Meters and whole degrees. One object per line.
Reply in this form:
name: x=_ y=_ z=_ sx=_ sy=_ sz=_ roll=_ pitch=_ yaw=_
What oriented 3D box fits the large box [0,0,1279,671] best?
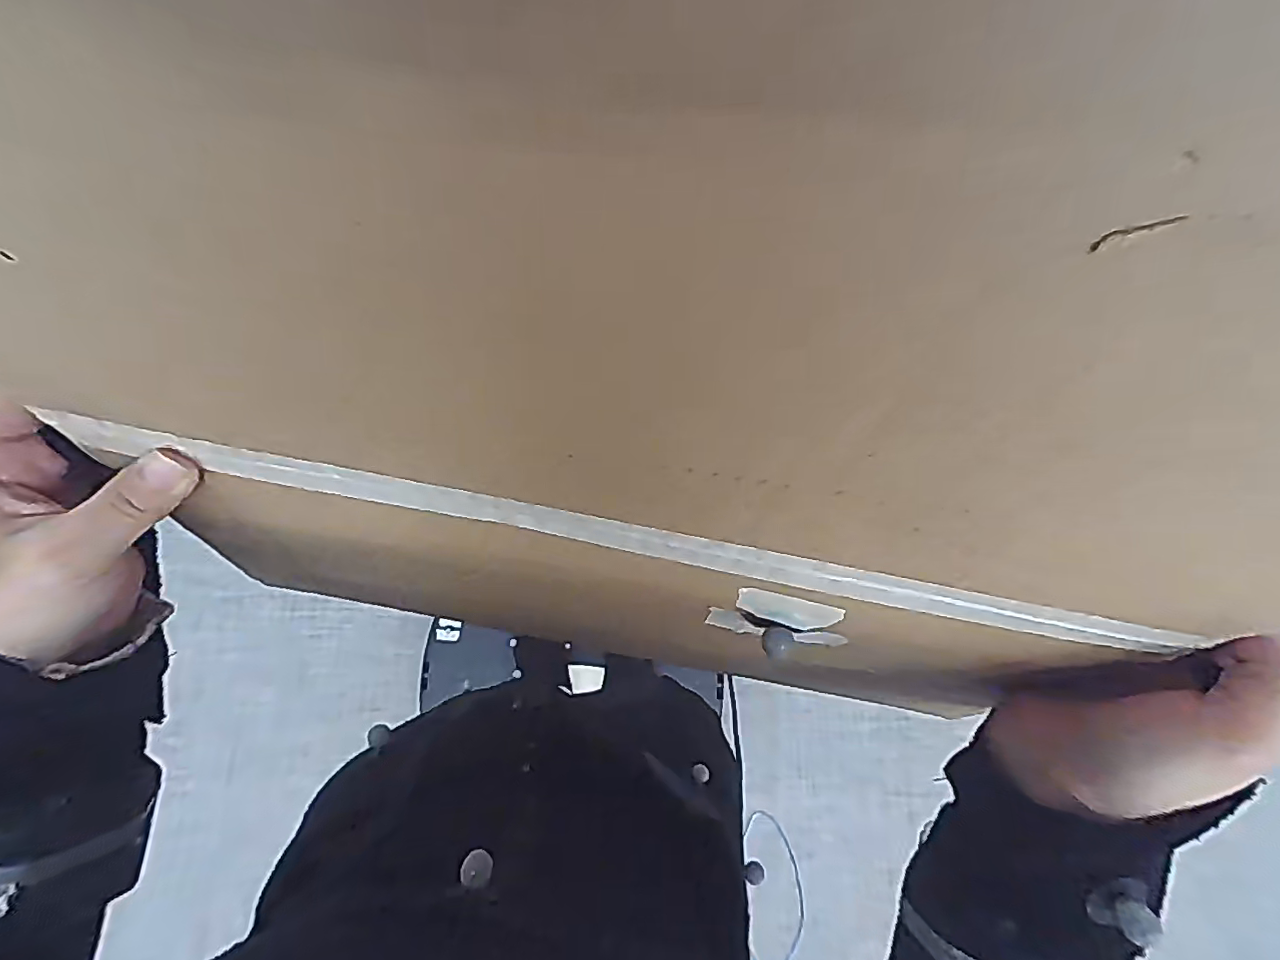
large box: x=0.034 y=-0.134 z=0.256 sx=0.408 sy=0.320 sz=0.320 roll=10 pitch=58 yaw=0

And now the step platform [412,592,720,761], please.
step platform: x=-0.158 y=0.447 z=1.259 sx=0.684 sy=0.204 sz=0.286 roll=8 pitch=79 yaw=-1
